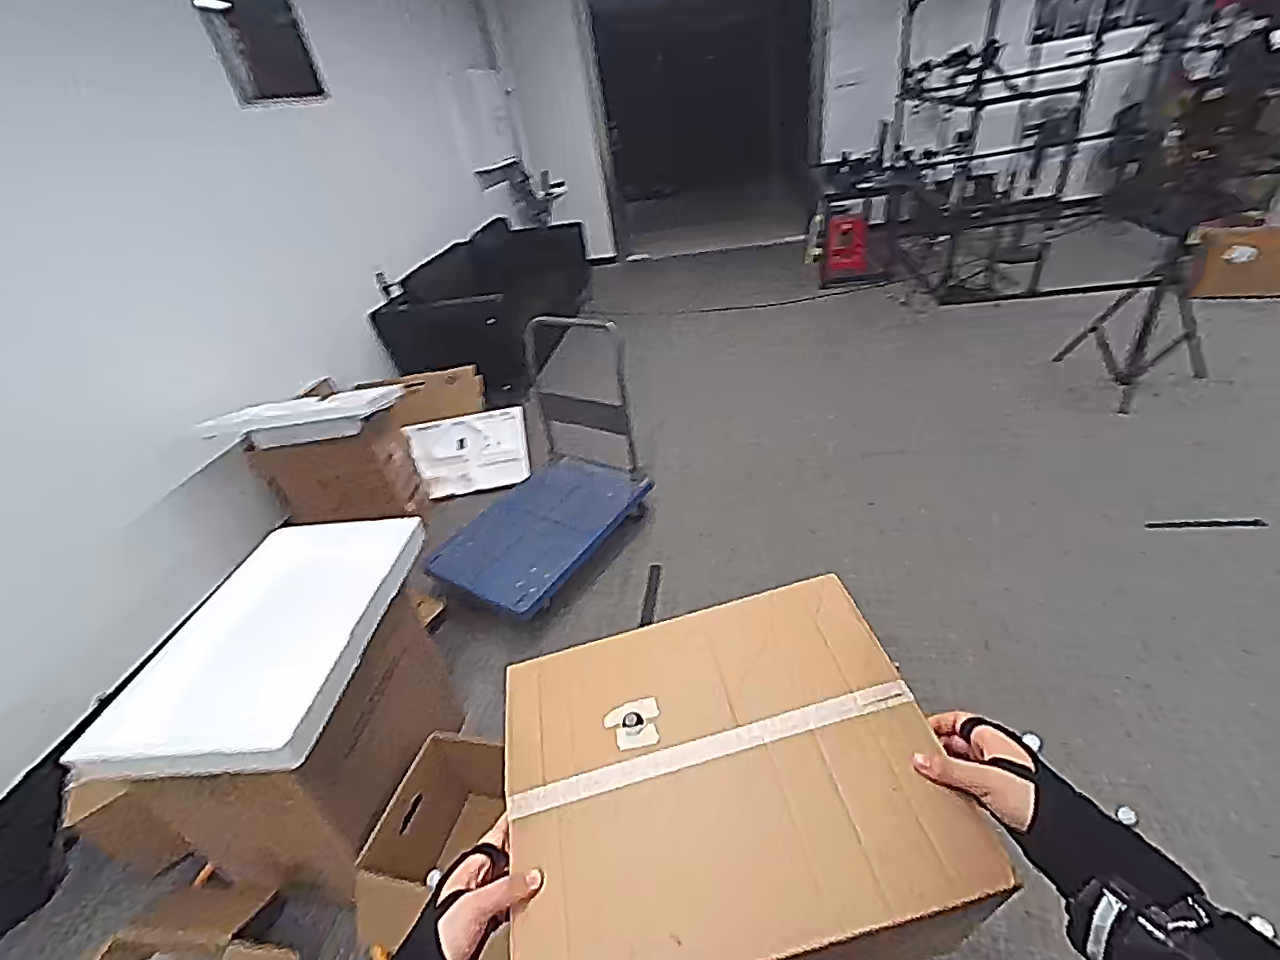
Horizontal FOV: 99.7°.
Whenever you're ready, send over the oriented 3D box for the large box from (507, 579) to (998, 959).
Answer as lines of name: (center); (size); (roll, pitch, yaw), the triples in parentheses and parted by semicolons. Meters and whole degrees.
large box: (0.097, 0.378, 0.627); (0.408, 0.320, 0.320); (-18, 40, -1)
